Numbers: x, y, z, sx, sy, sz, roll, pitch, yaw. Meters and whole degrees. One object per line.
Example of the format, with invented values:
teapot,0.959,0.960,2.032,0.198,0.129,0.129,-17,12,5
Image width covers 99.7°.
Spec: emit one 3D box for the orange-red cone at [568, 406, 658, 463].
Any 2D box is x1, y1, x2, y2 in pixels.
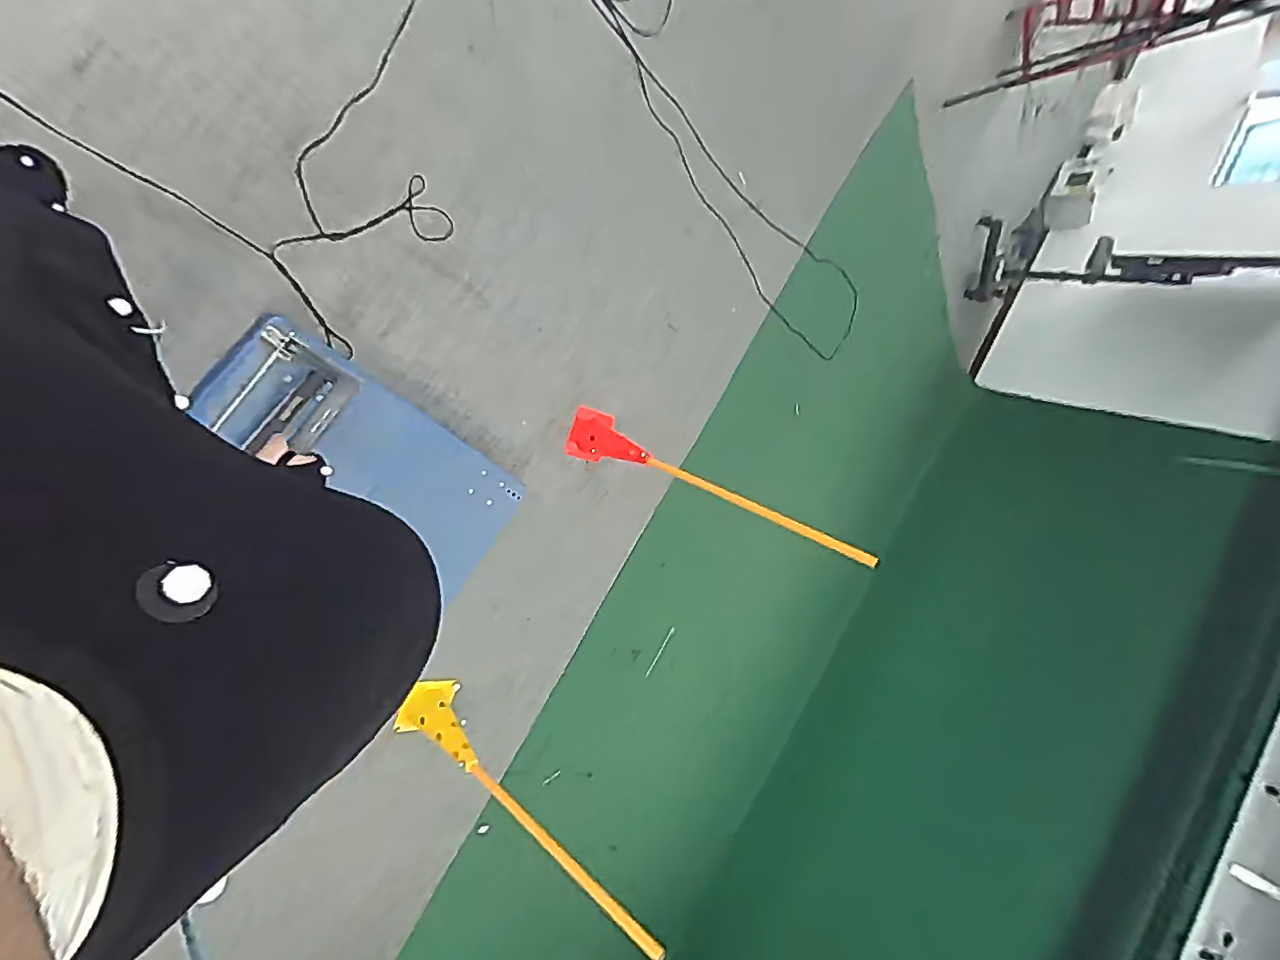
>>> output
orange-red cone,-0.072,-0.131,2.038,0.198,0.360,0.199,15,95,-48
